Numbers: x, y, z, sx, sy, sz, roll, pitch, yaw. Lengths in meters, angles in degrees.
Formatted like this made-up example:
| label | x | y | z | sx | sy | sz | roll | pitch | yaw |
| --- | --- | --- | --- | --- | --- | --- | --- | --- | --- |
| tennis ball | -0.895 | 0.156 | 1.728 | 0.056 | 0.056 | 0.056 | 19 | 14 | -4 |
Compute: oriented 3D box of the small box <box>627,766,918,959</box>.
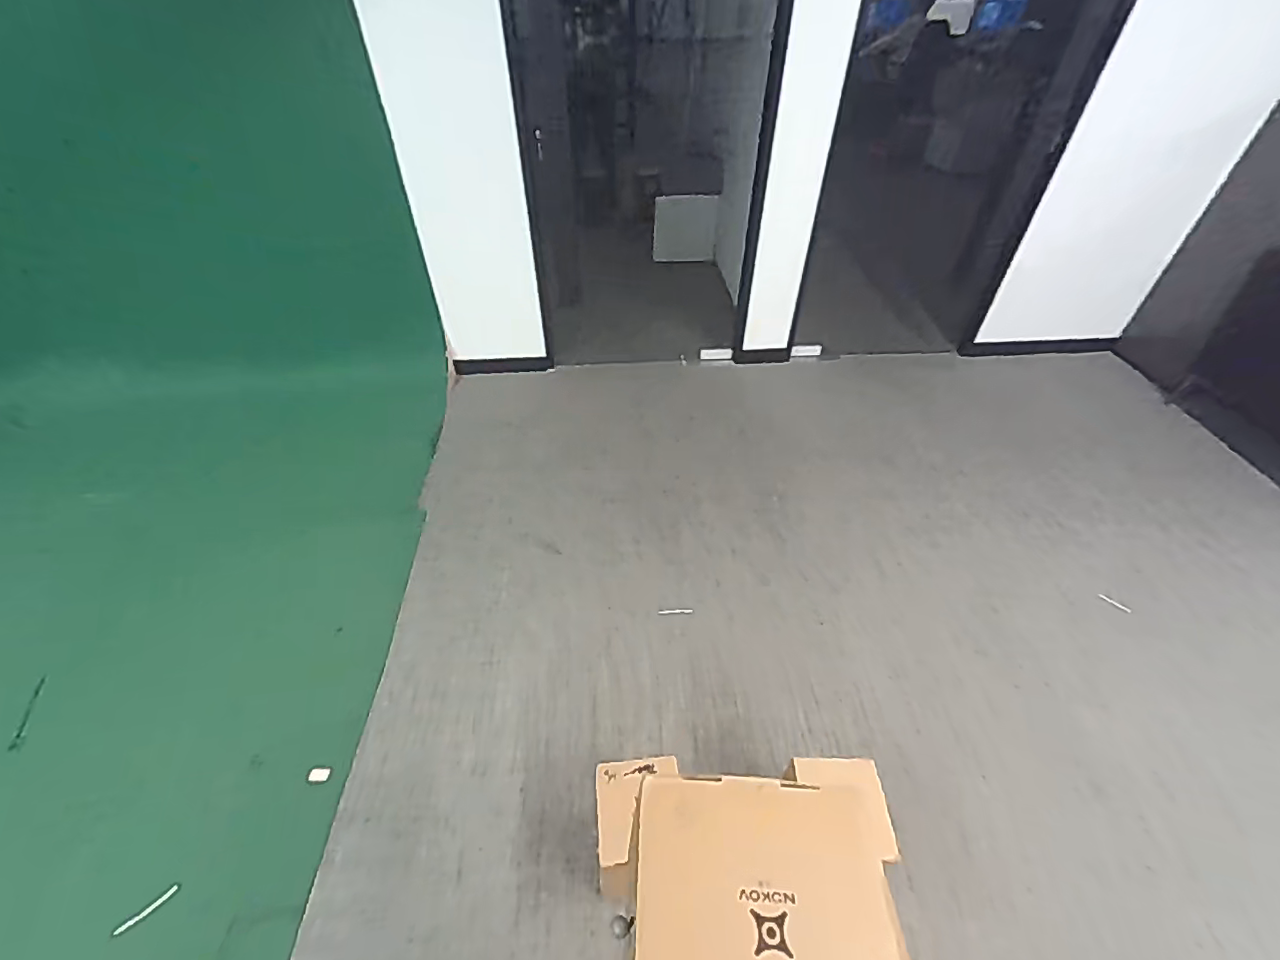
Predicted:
| label | x | y | z | sx | sy | sz | roll | pitch | yaw |
| --- | --- | --- | --- | --- | --- | --- | --- | --- | --- |
| small box | 0.078 | 0.336 | 0.380 | 0.168 | 0.176 | 0.179 | 6 | 35 | -1 |

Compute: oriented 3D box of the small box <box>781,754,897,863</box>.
| label | x | y | z | sx | sy | sz | roll | pitch | yaw |
| --- | --- | --- | --- | --- | --- | --- | --- | --- | --- |
| small box | 0.384 | 0.676 | 1.091 | 0.168 | 0.176 | 0.179 | 1 | 45 | 1 |

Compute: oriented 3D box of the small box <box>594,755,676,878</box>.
| label | x | y | z | sx | sy | sz | roll | pitch | yaw |
| --- | --- | --- | --- | --- | --- | --- | --- | --- | --- |
| small box | -0.002 | 0.678 | 1.083 | 0.168 | 0.176 | 0.179 | -4 | 45 | -4 |
